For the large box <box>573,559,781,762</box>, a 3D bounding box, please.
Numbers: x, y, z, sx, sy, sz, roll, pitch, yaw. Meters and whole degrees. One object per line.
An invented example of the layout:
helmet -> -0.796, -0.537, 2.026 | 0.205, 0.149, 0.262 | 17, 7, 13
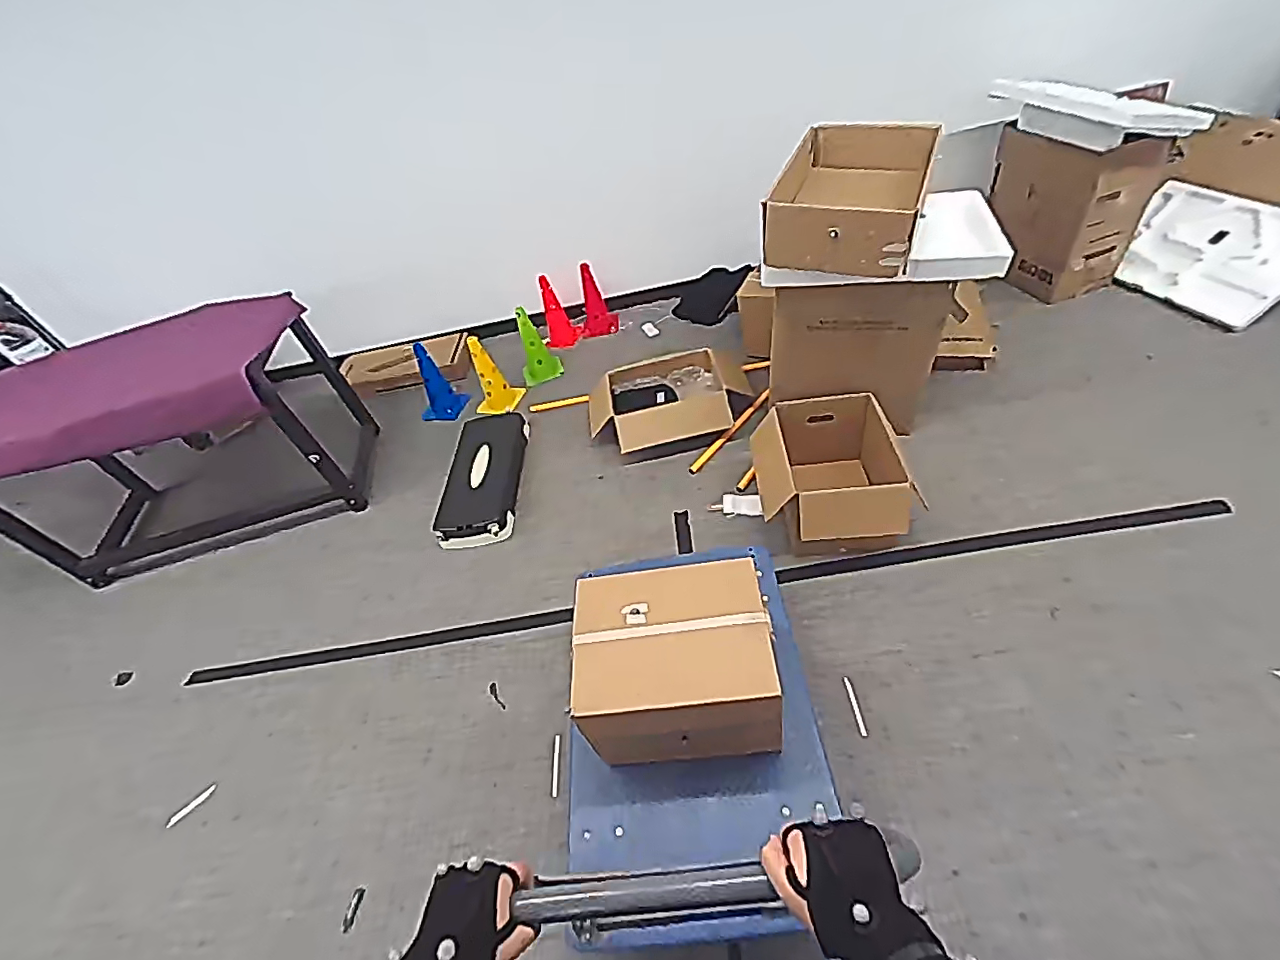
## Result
large box -> 0.088, 0.419, 1.235 | 0.408, 0.320, 0.320 | -9, 45, 7
